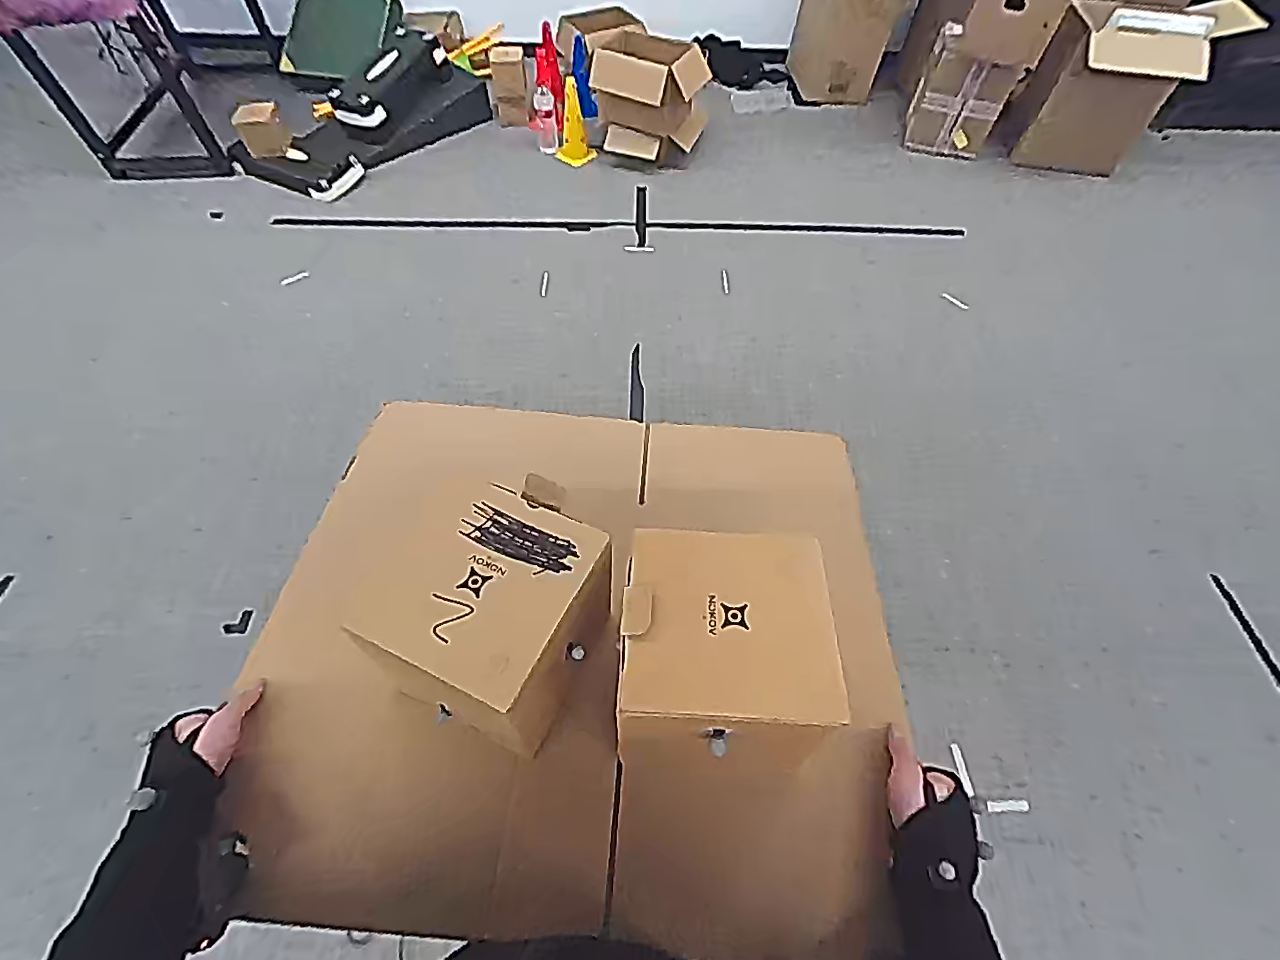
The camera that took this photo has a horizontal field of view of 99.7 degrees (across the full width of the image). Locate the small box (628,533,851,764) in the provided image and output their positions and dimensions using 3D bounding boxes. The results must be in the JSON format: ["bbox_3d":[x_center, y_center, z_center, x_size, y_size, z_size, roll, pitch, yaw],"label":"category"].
[{"bbox_3d":[0.080,0.169,0.529,0.179,0.176,0.168,2,51,2],"label":"small box"}]
